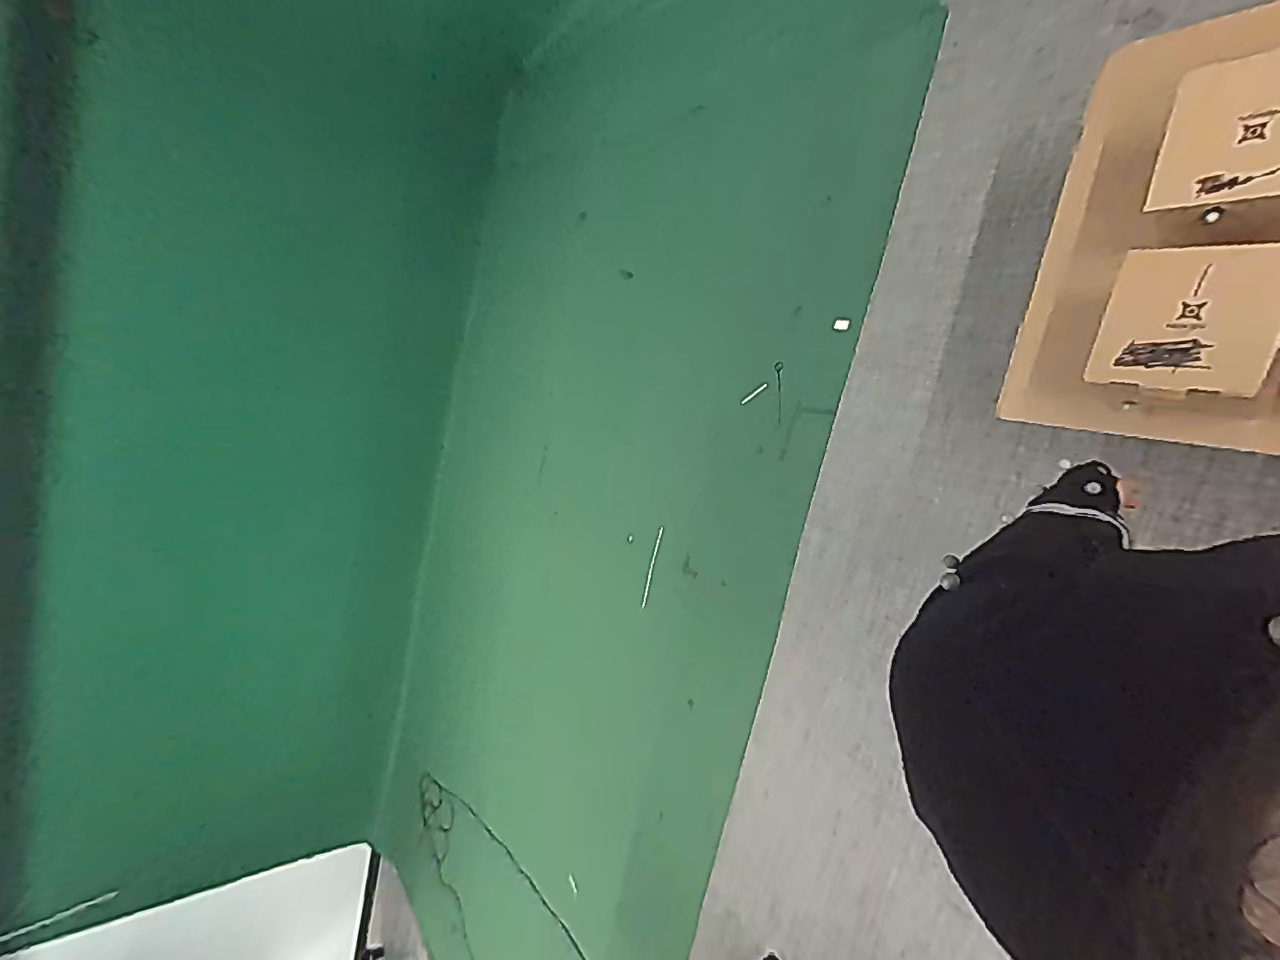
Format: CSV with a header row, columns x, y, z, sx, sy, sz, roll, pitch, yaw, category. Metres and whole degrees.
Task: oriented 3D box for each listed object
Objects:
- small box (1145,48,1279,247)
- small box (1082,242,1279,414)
x,y,z,sx,sy,sz,roll,pitch,yaw,category
0.784,-0.408,0.683,0.168,0.176,0.179,20,99,51,small box
0.734,-0.194,0.715,0.168,0.176,0.179,23,102,49,small box
